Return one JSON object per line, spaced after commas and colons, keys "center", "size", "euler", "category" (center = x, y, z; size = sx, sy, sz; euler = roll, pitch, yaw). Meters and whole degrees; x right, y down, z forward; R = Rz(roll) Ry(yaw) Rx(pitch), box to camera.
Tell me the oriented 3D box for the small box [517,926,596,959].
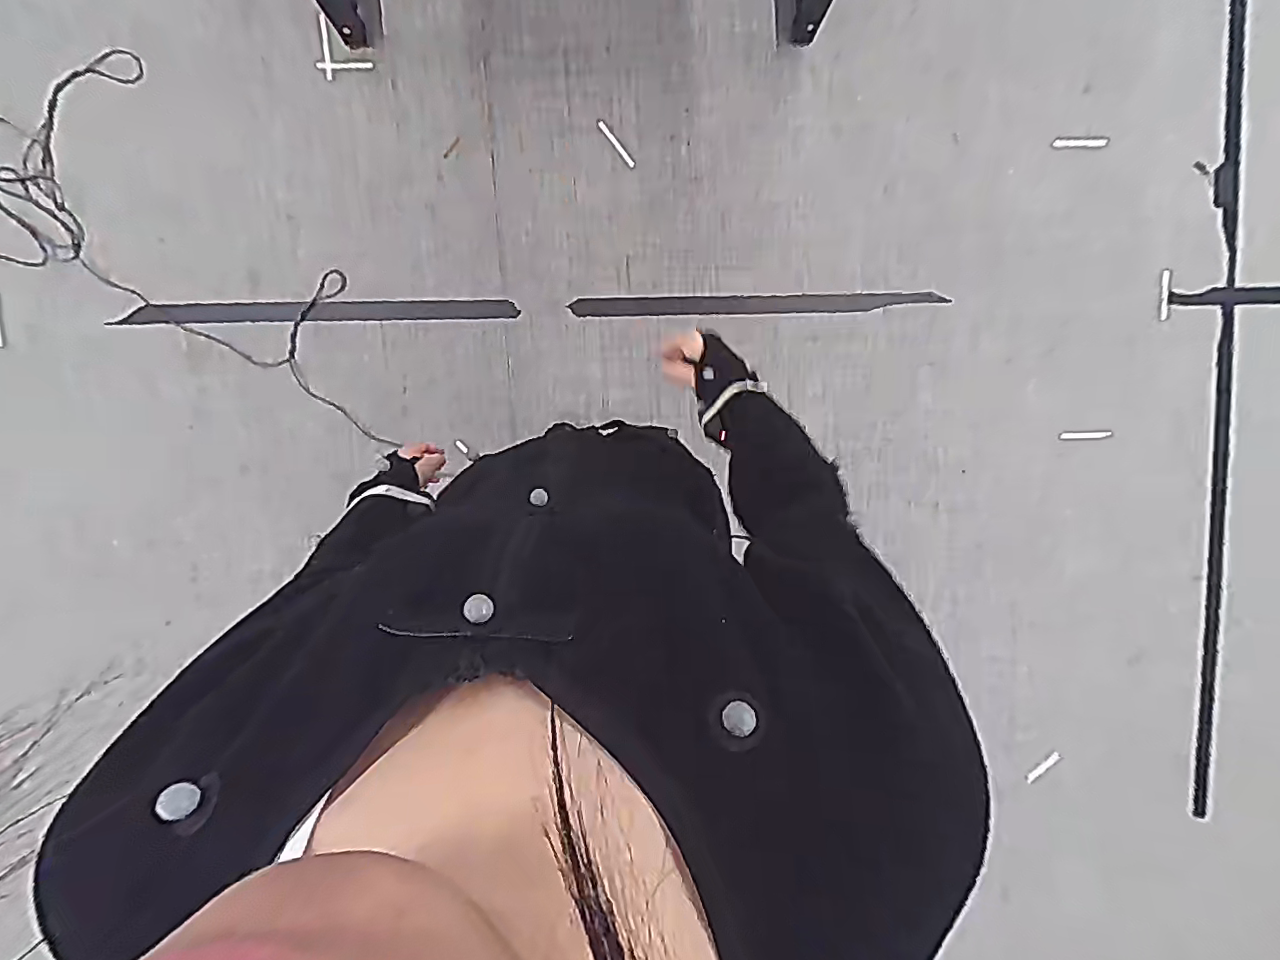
{"center": [-0.186, 1.140, 1.202], "size": [0.179, 0.176, 0.168], "euler": [-4, 93, -2], "category": "small box"}
